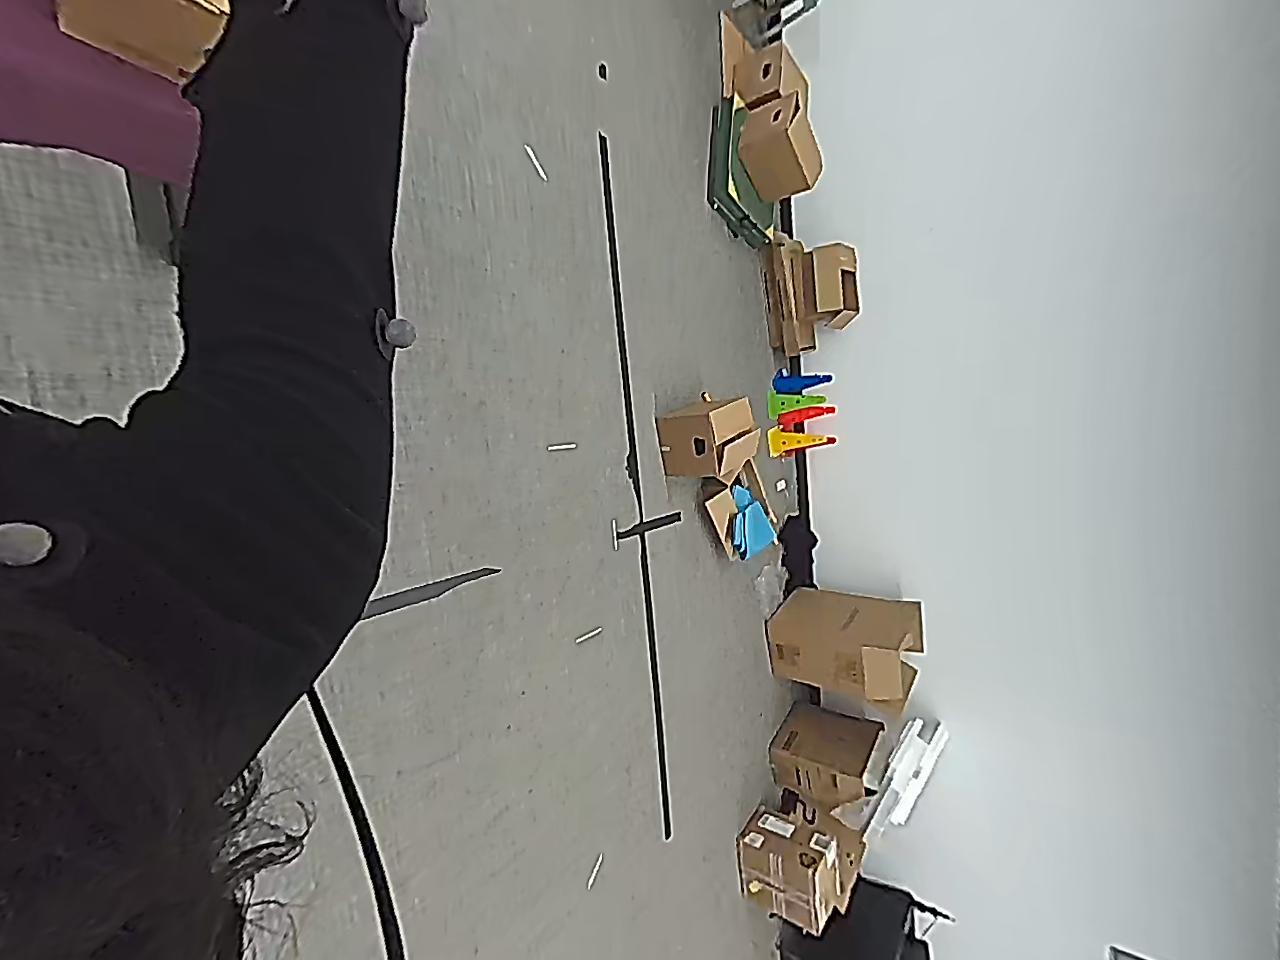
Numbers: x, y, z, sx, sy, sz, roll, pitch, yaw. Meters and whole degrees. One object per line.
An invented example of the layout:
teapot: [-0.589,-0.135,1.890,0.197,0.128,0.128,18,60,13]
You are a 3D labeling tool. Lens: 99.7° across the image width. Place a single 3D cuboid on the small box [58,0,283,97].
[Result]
small box: [-0.513,-0.574,0.591,0.168,0.176,0.179,1,87,-53]
